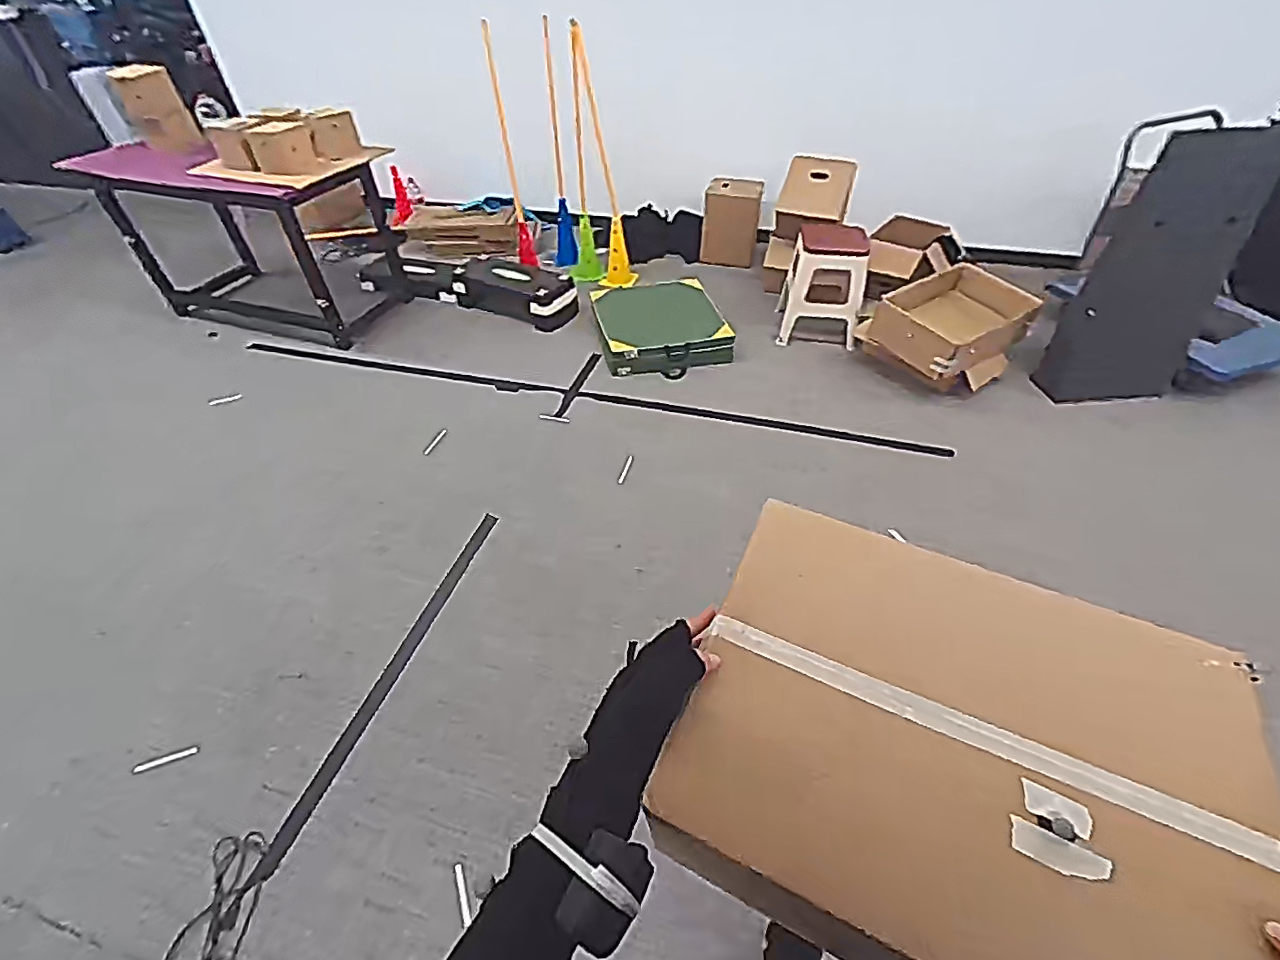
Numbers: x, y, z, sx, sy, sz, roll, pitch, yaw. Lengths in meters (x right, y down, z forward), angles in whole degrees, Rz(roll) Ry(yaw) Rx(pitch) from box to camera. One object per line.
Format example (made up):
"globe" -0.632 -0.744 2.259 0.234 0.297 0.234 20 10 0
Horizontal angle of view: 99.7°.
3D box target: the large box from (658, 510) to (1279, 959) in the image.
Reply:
"large box" 0.259 0.290 0.551 0.408 0.320 0.320 19 56 18
